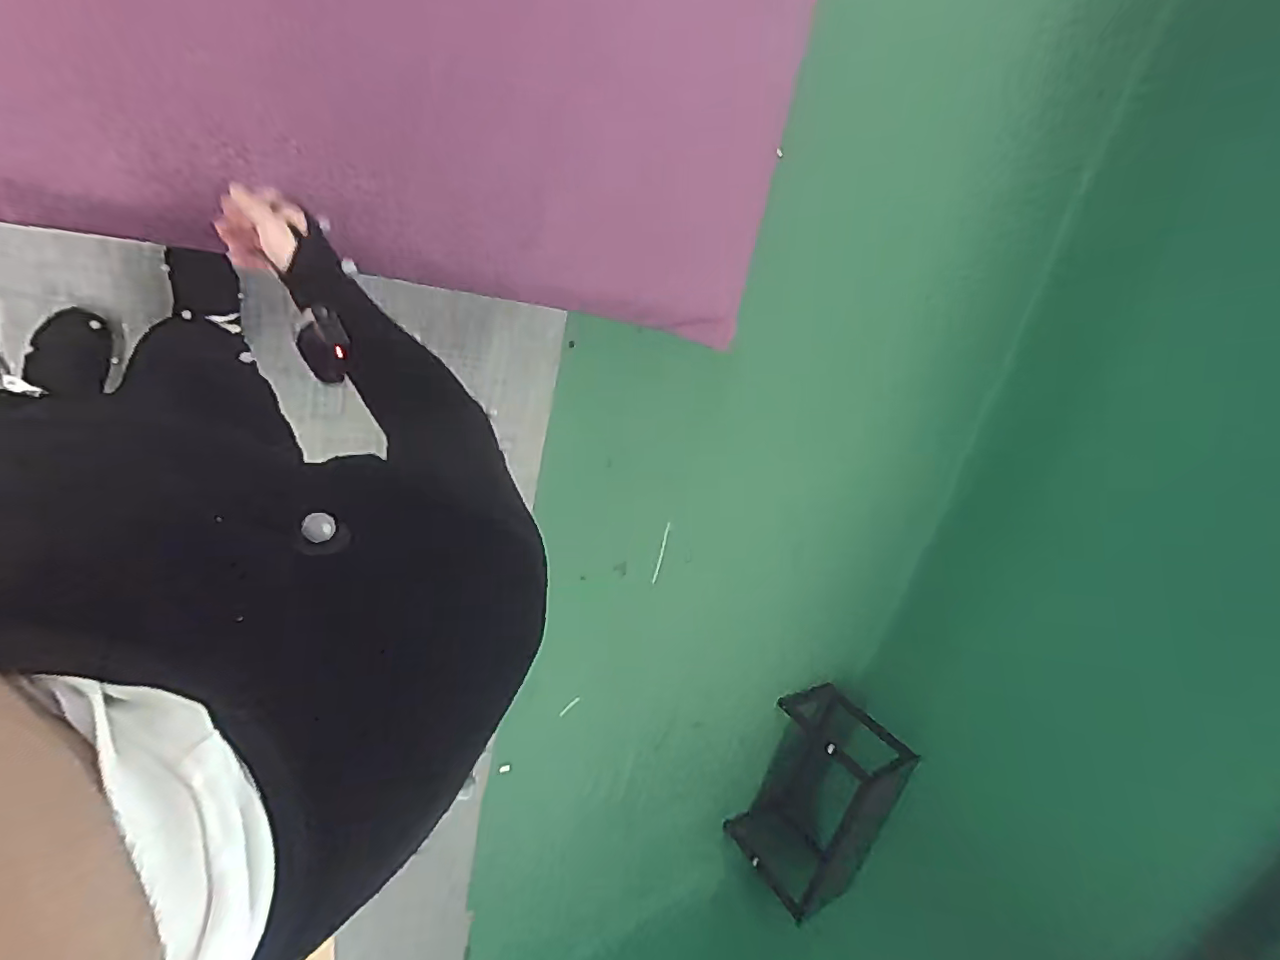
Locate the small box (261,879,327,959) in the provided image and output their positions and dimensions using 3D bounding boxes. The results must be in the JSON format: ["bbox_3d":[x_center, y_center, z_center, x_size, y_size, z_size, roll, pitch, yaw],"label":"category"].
[{"bbox_3d":[-1.108,1.439,1.729,0.168,0.176,0.179,-4,117,-37],"label":"small box"}]

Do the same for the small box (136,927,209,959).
[{"bbox_3d":[-1.348,1.450,1.549,0.168,0.176,0.179,5,110,-39],"label":"small box"}]
